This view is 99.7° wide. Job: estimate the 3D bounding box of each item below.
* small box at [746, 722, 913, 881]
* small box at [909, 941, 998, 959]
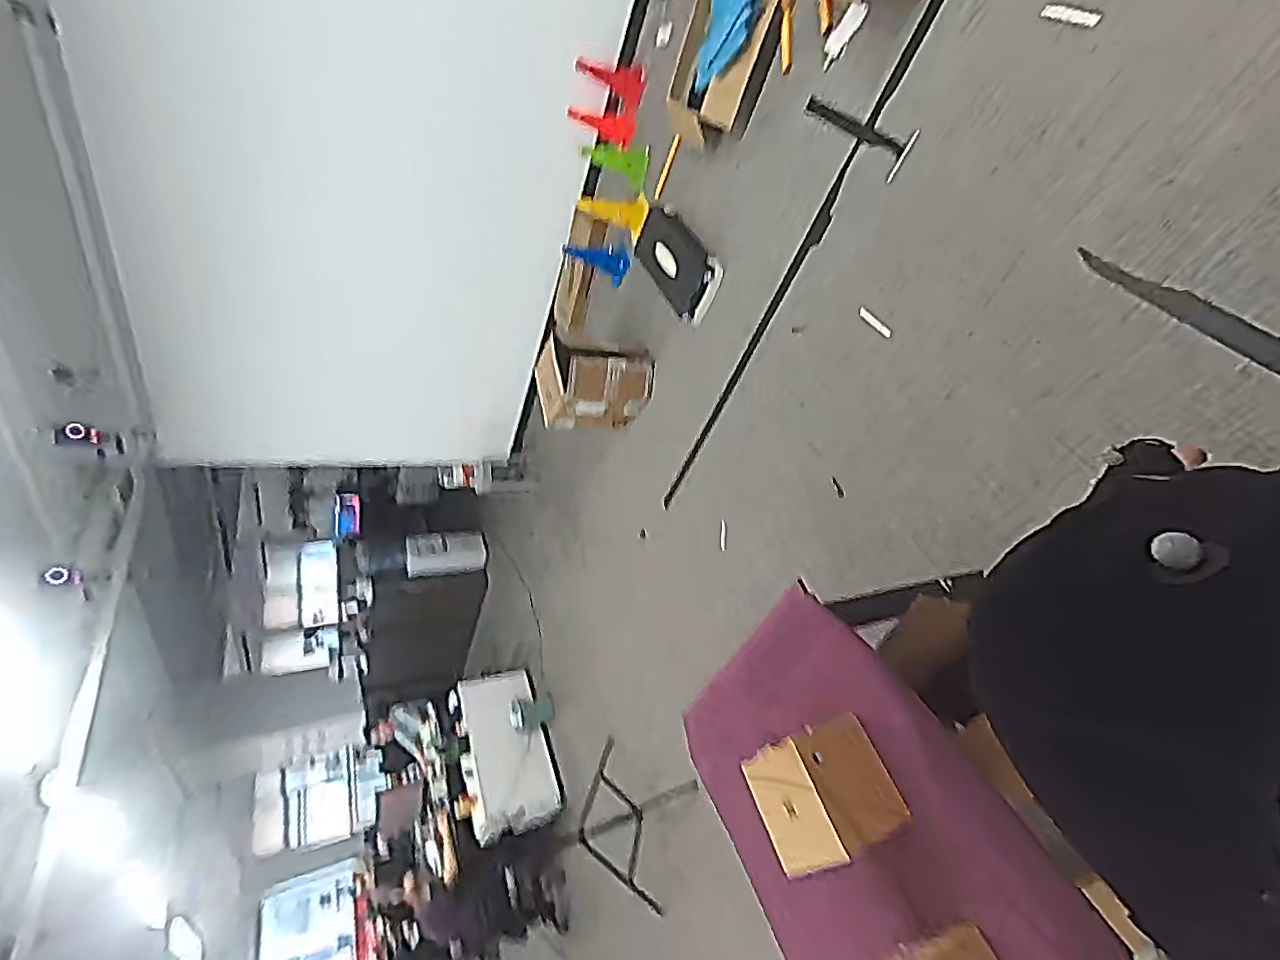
[{"bbox_3d":[0.322,0.545,0.929,0.168,0.176,0.179,-60,42,41],"label":"small box"},{"bbox_3d":[0.436,0.777,0.742,0.179,0.176,0.168,60,141,39],"label":"small box"}]
